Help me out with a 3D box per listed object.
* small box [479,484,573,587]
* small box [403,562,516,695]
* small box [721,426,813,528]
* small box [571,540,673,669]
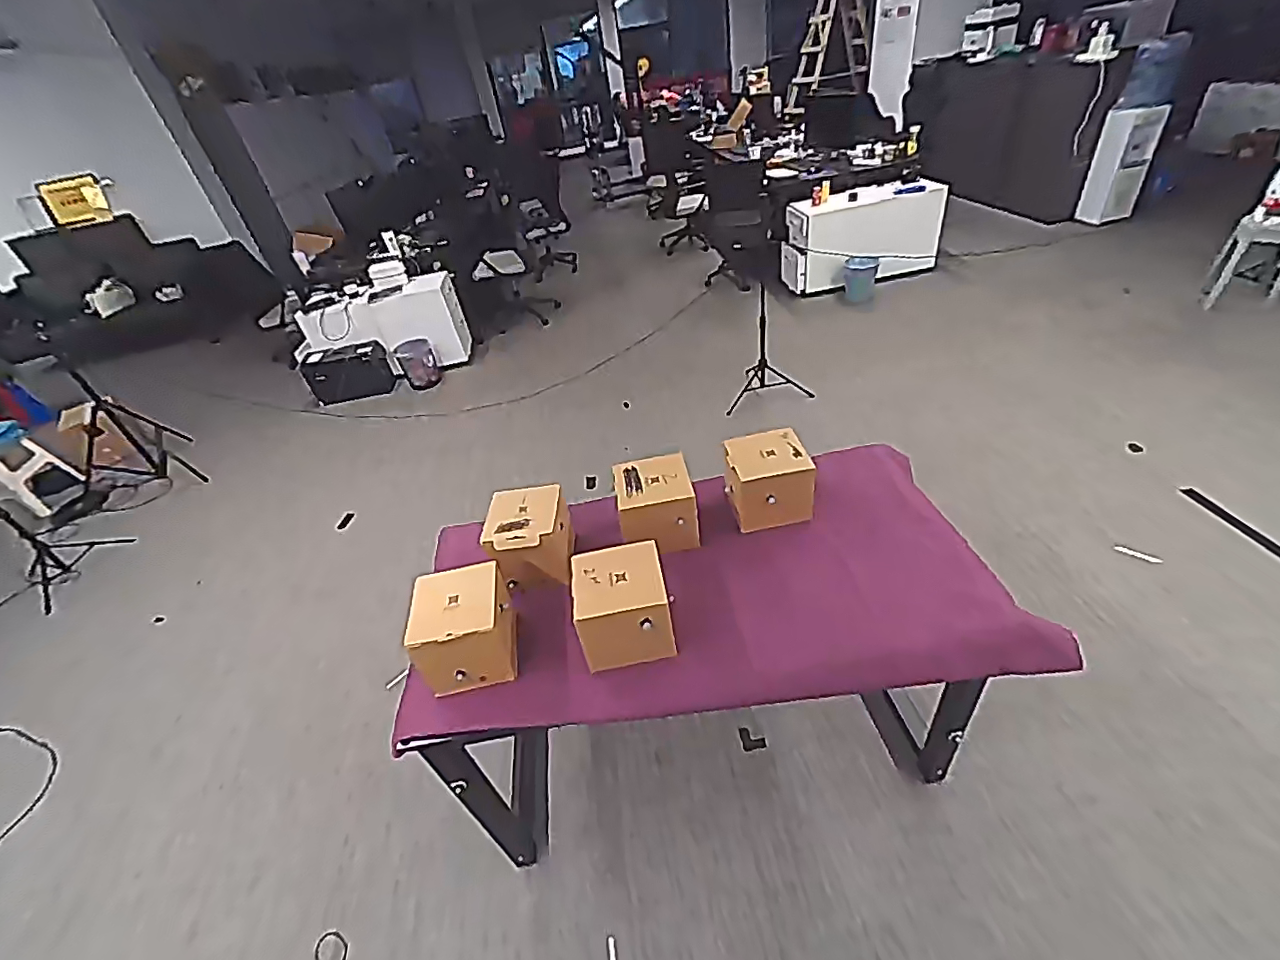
[{"bbox_3d":[-0.257,0.136,1.271,0.168,0.176,0.179,-7,38,4],"label":"small box"},{"bbox_3d":[-0.352,0.297,1.088,0.168,0.176,0.179,-12,39,-5],"label":"small box"},{"bbox_3d":[0.305,-0.003,1.307,0.179,0.176,0.168,-12,41,0],"label":"small box"},{"bbox_3d":[-0.033,0.249,1.075,0.179,0.176,0.168,-12,38,0],"label":"small box"}]
